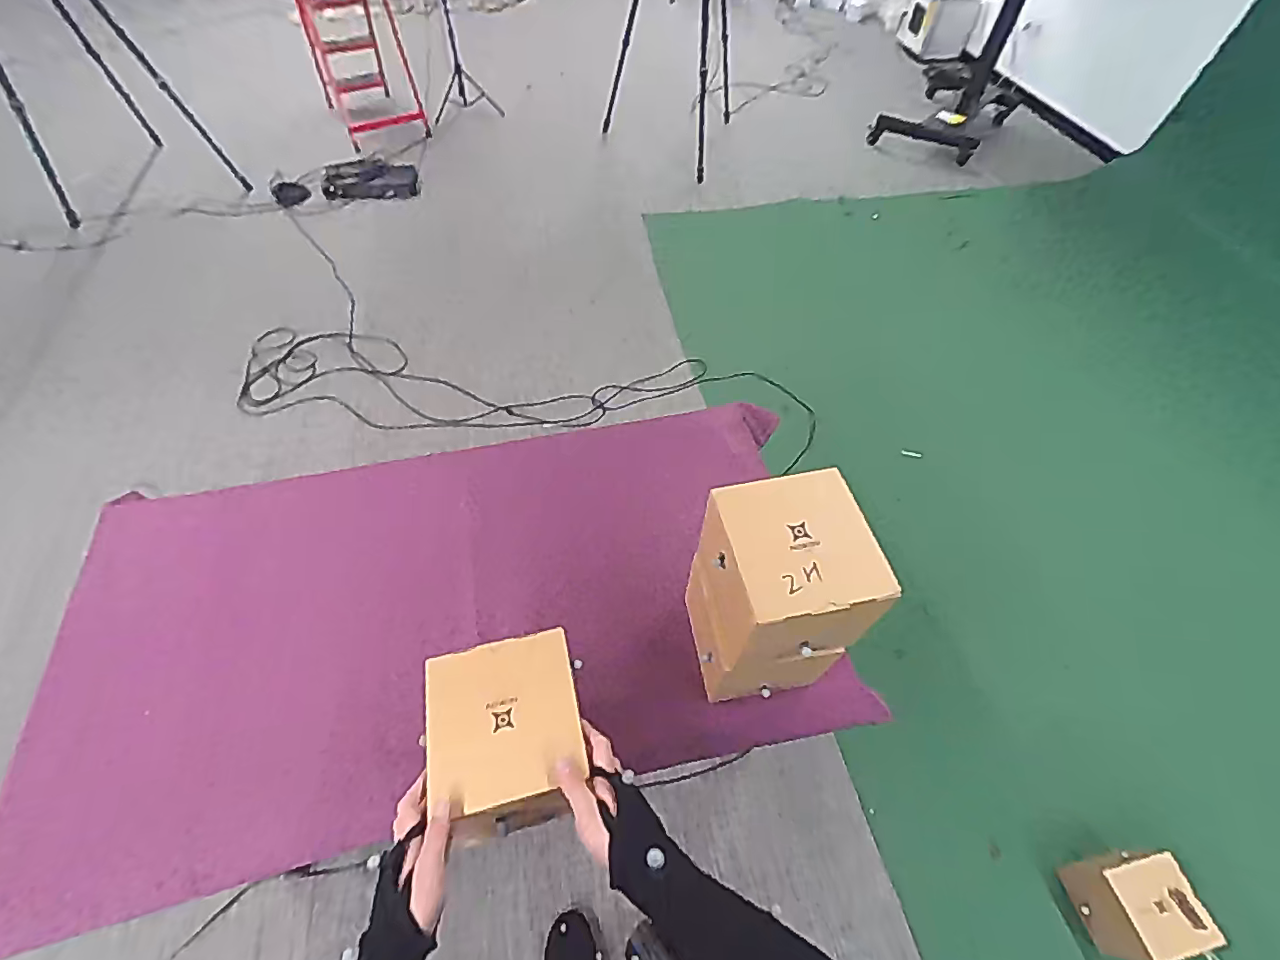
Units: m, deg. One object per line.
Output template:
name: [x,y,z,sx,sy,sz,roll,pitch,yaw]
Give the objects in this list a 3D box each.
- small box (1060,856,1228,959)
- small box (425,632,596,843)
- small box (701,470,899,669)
small box: [1.111,0.960,1.211,0.179,0.176,0.168,-10,56,-8]
small box: [-0.152,0.314,0.652,0.168,0.176,0.179,-11,50,-11]
small box: [0.181,0.114,0.679,0.168,0.176,0.179,-9,56,-7]
